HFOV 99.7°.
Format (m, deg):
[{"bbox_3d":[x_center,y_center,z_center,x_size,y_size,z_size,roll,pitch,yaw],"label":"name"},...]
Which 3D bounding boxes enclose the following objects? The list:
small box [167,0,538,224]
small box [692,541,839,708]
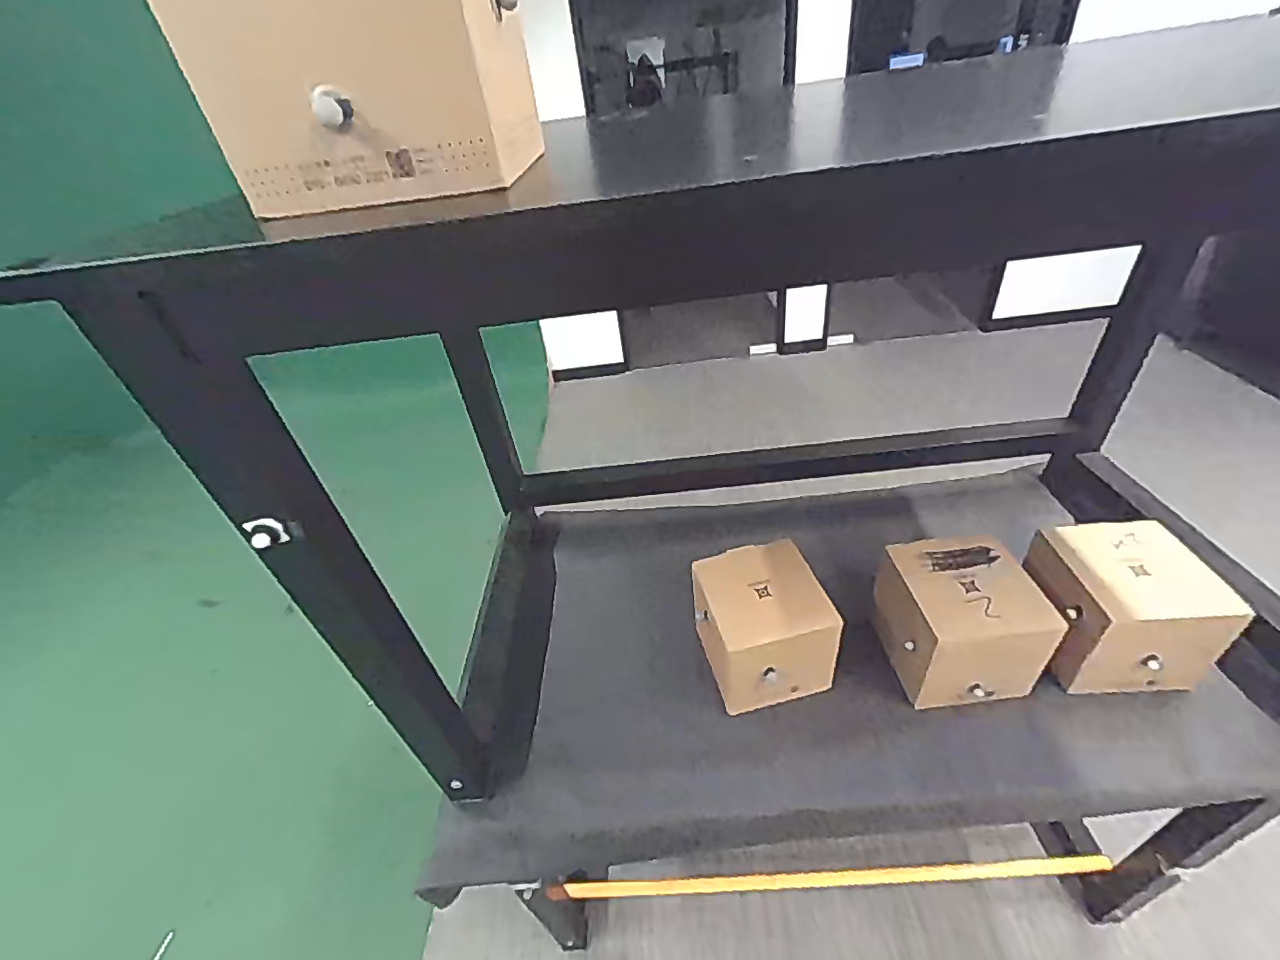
[{"bbox_3d":[-0.174,-0.284,0.363,0.168,0.176,0.179,-5,38,4],"label":"small box"},{"bbox_3d":[0.186,0.227,0.835,0.168,0.176,0.179,-13,37,-5],"label":"small box"}]
